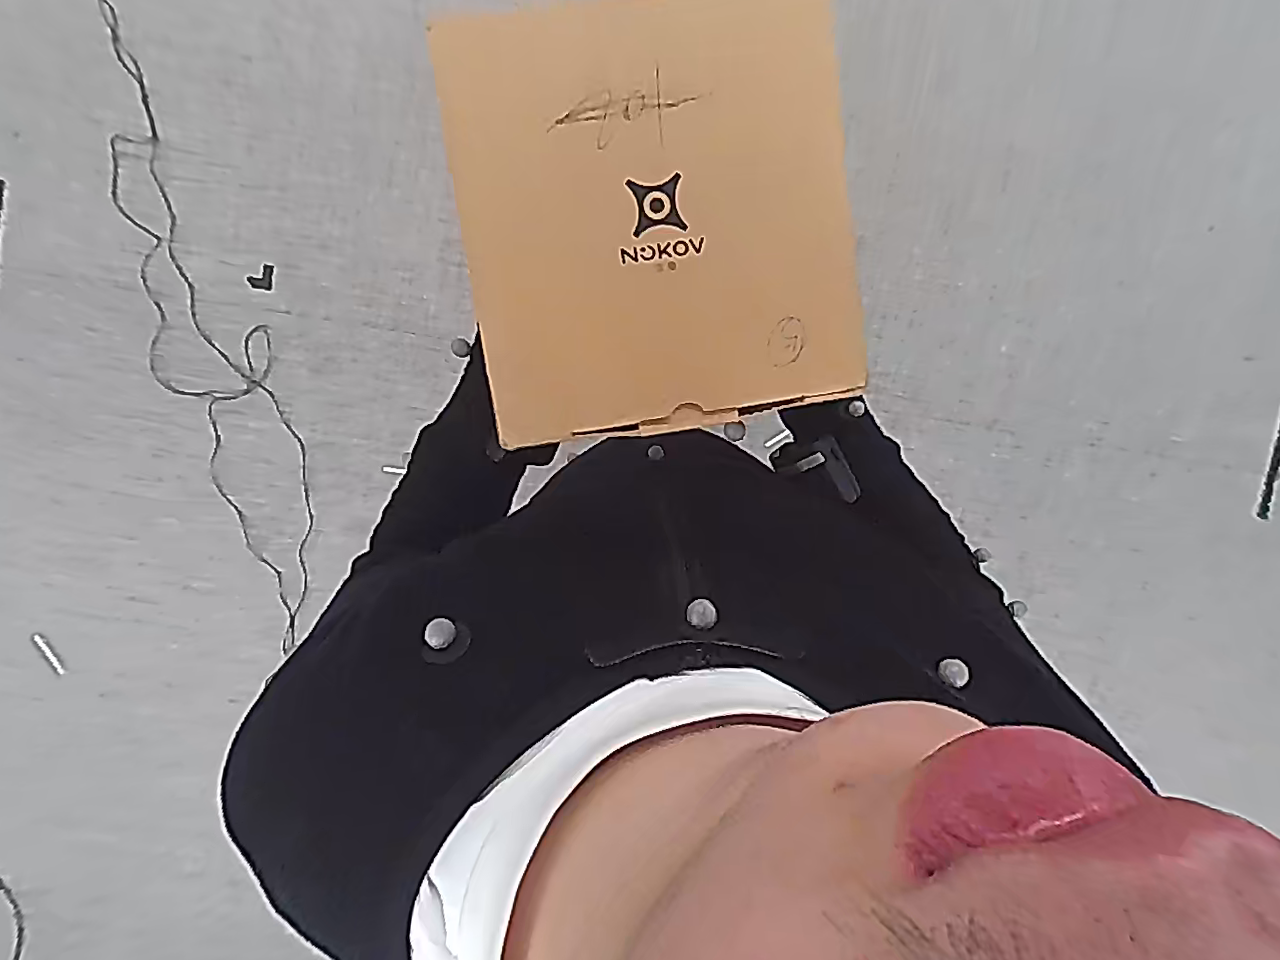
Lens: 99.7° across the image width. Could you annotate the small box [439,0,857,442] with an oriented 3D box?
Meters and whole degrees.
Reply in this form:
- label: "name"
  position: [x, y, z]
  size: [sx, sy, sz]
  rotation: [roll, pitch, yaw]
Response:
- label: "small box"
  position: [0.004, -0.123, 0.319]
  size: [0.168, 0.176, 0.179]
  rotation: [-10, 95, -2]
